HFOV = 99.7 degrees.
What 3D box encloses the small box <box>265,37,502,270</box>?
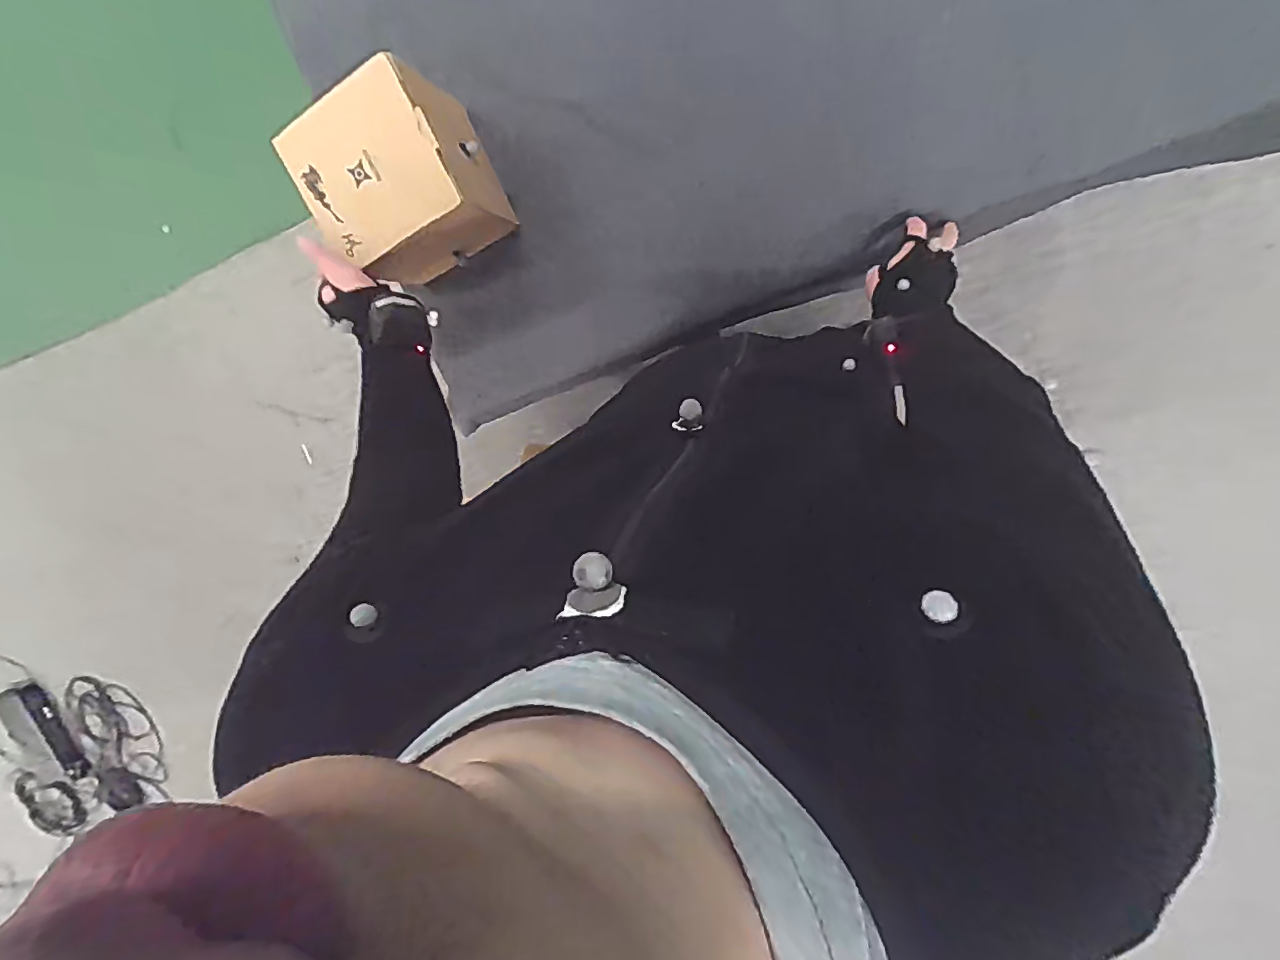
[{"bbox_3d":[-0.293,-0.377,0.666,0.179,0.176,0.168,-23,102,15],"label":"small box"}]
